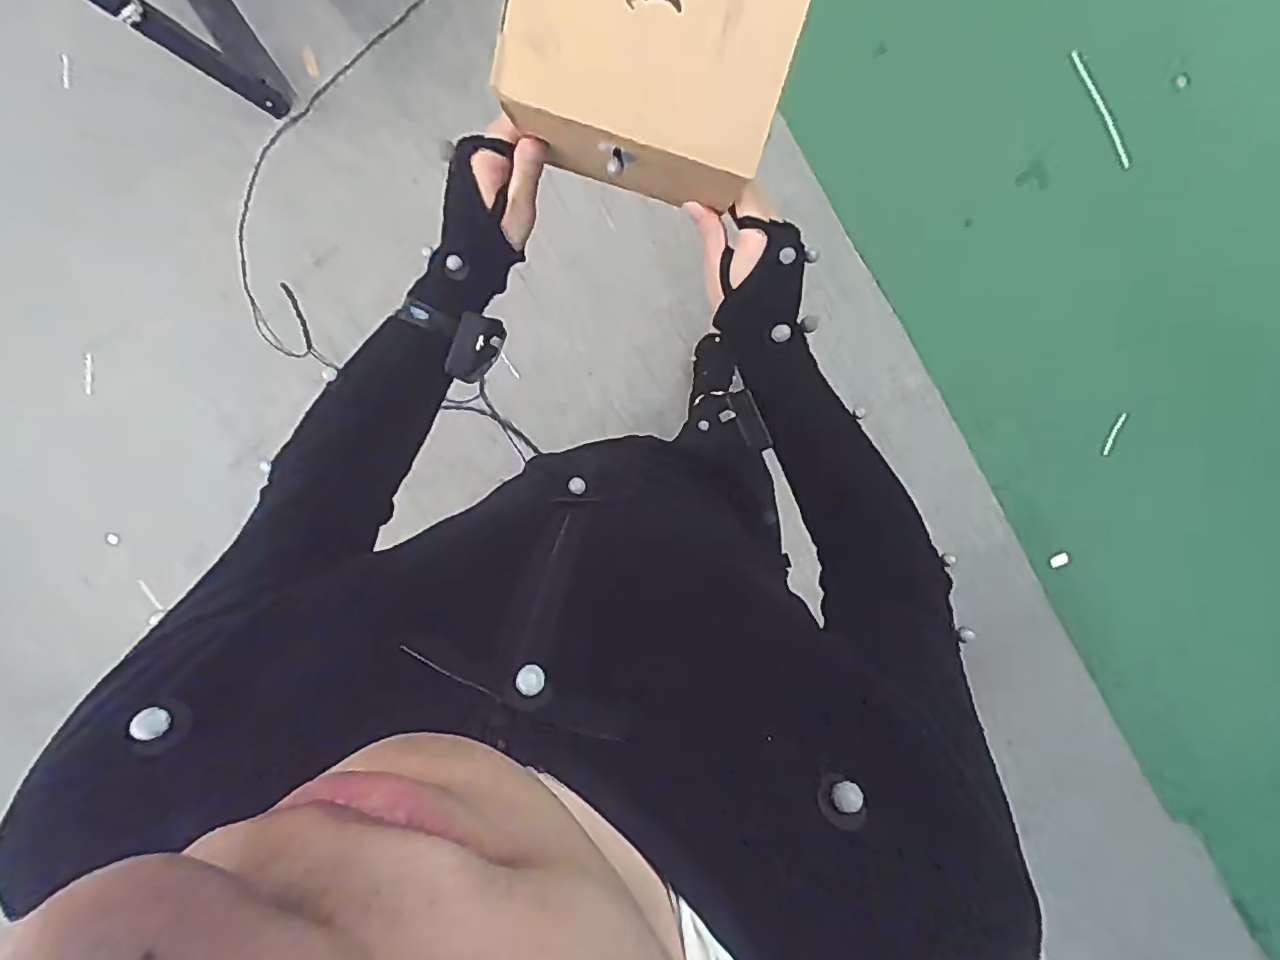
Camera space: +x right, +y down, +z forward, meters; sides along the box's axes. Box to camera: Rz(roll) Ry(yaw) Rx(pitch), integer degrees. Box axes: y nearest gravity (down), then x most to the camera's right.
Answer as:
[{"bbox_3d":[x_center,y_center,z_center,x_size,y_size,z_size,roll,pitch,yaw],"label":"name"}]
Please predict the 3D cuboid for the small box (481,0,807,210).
[{"bbox_3d":[0.011,-0.311,0.383,0.179,0.176,0.168,16,107,-4],"label":"small box"}]
